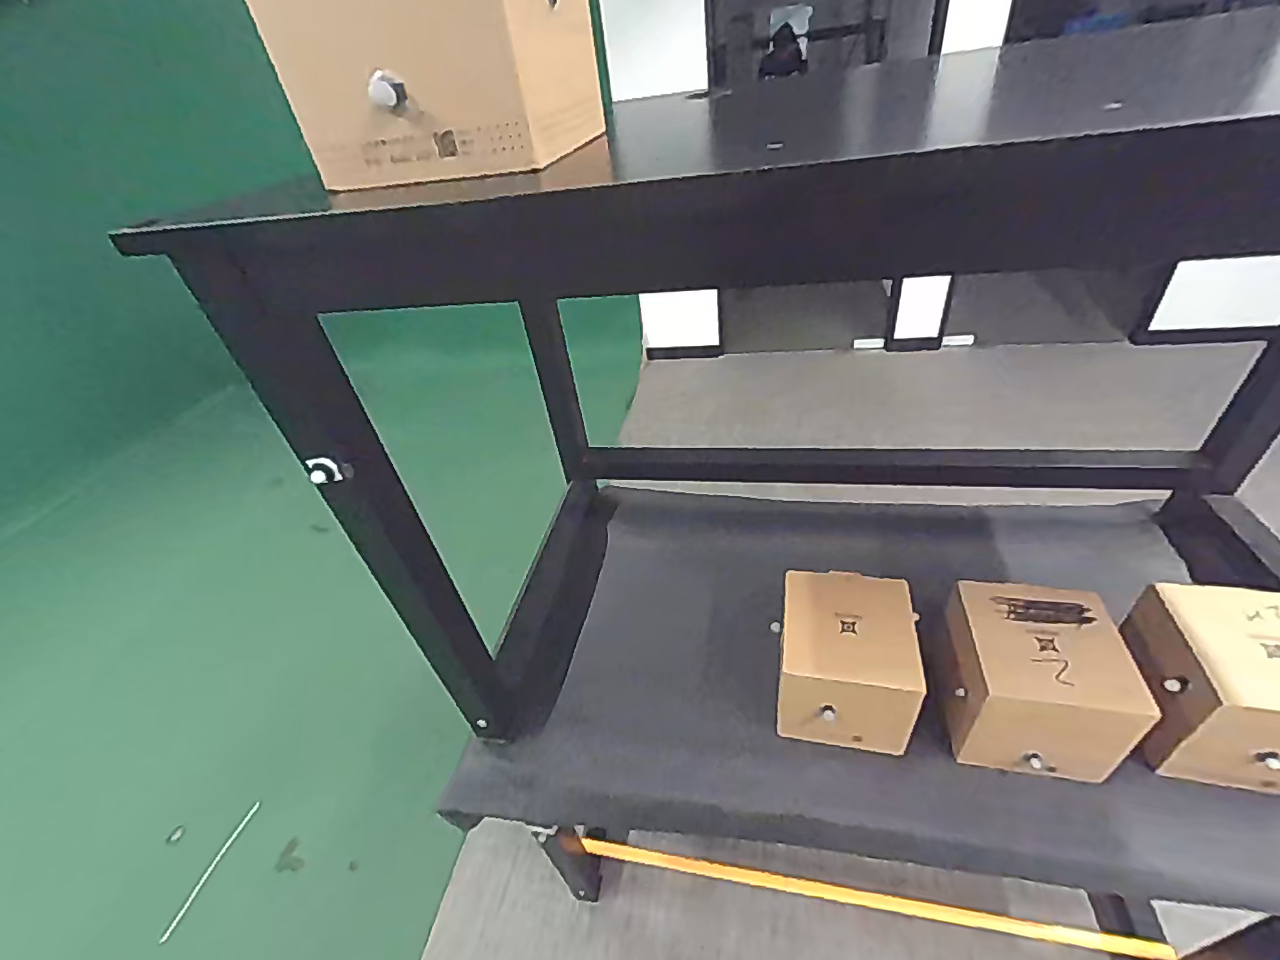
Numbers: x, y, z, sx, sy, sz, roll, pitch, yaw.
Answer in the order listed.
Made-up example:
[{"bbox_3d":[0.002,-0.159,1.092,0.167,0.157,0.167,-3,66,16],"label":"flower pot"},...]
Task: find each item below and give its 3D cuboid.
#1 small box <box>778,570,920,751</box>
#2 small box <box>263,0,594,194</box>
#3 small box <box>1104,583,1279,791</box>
[{"bbox_3d":[0.284,0.254,0.766,0.168,0.176,0.179,3,39,15],"label":"small box"},{"bbox_3d":[-0.138,-0.317,0.387,0.168,0.176,0.179,2,40,14],"label":"small box"},{"bbox_3d":[0.726,0.255,0.666,0.168,0.176,0.179,3,39,16],"label":"small box"}]
